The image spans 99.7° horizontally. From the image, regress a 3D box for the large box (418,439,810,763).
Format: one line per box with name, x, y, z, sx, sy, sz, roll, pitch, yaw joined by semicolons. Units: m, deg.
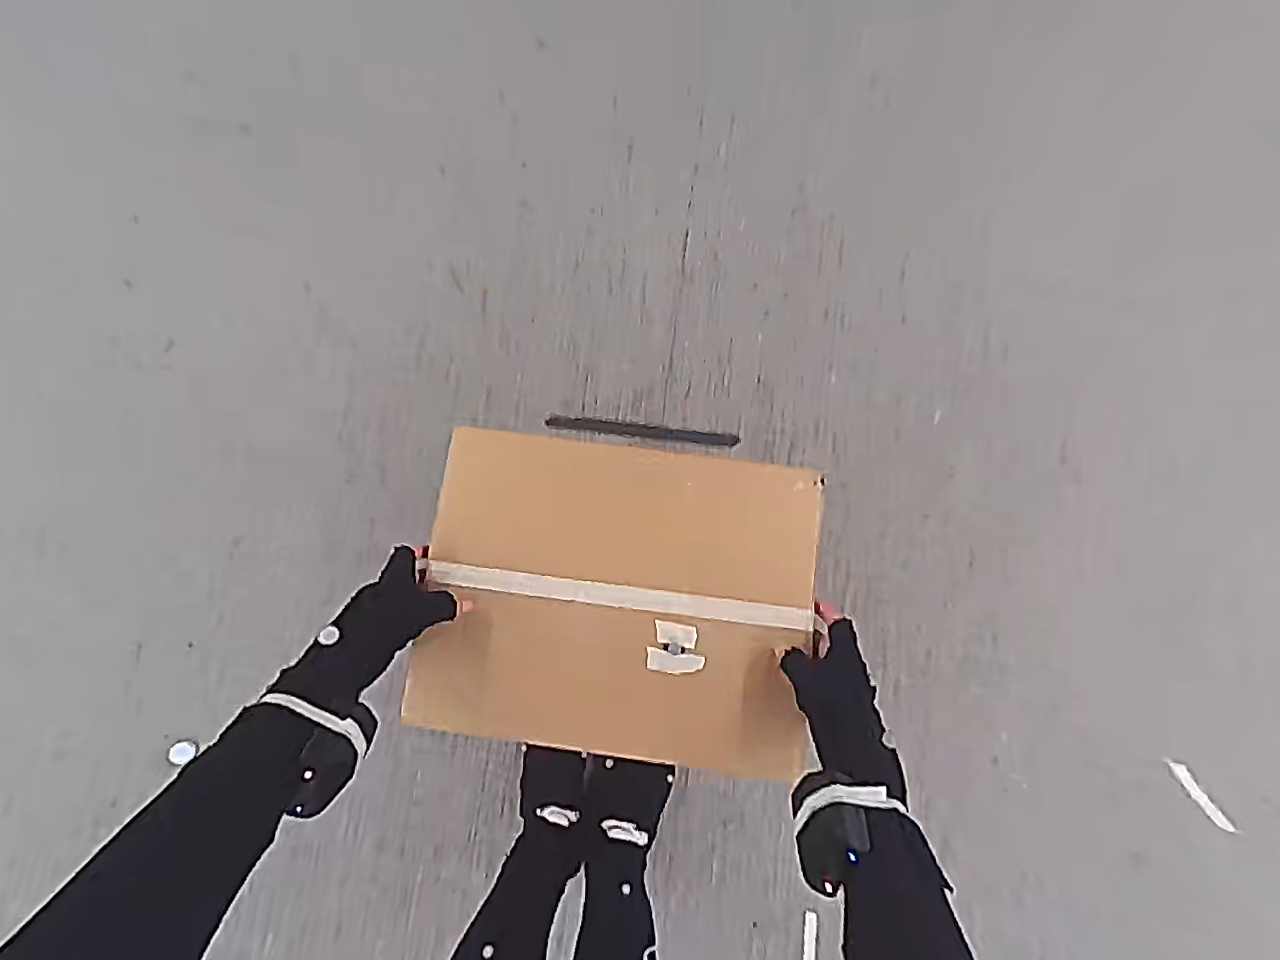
large box;-0.022;0.147;0.733;0.408;0.320;0.320;7;82;2
